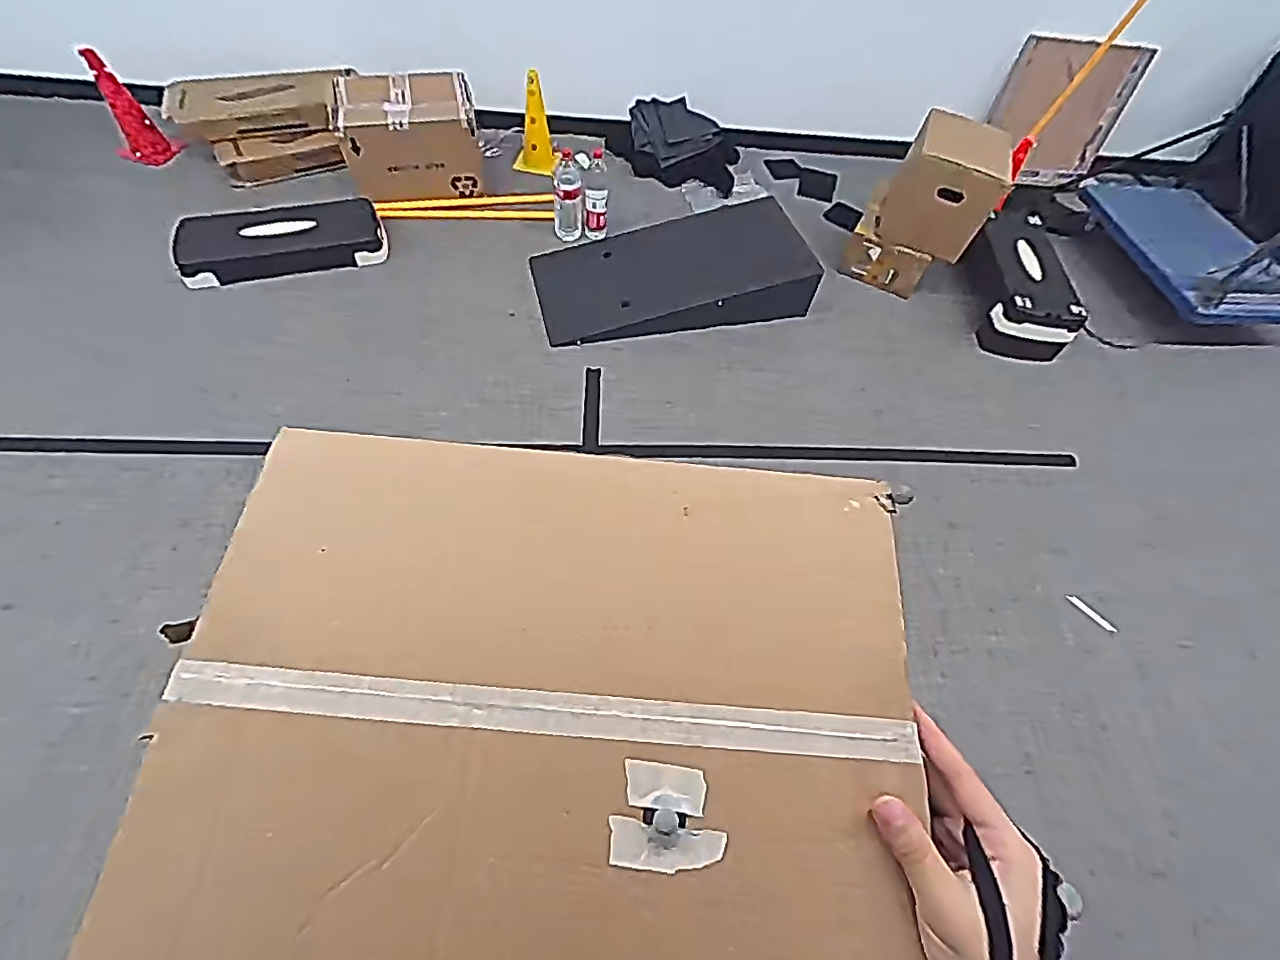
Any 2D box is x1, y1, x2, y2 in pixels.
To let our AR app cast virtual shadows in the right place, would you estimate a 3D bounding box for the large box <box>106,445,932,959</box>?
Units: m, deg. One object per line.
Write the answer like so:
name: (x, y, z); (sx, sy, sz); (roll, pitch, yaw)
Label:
large box: (-0.053, 0.190, 0.443); (0.408, 0.320, 0.320); (5, 67, -1)
